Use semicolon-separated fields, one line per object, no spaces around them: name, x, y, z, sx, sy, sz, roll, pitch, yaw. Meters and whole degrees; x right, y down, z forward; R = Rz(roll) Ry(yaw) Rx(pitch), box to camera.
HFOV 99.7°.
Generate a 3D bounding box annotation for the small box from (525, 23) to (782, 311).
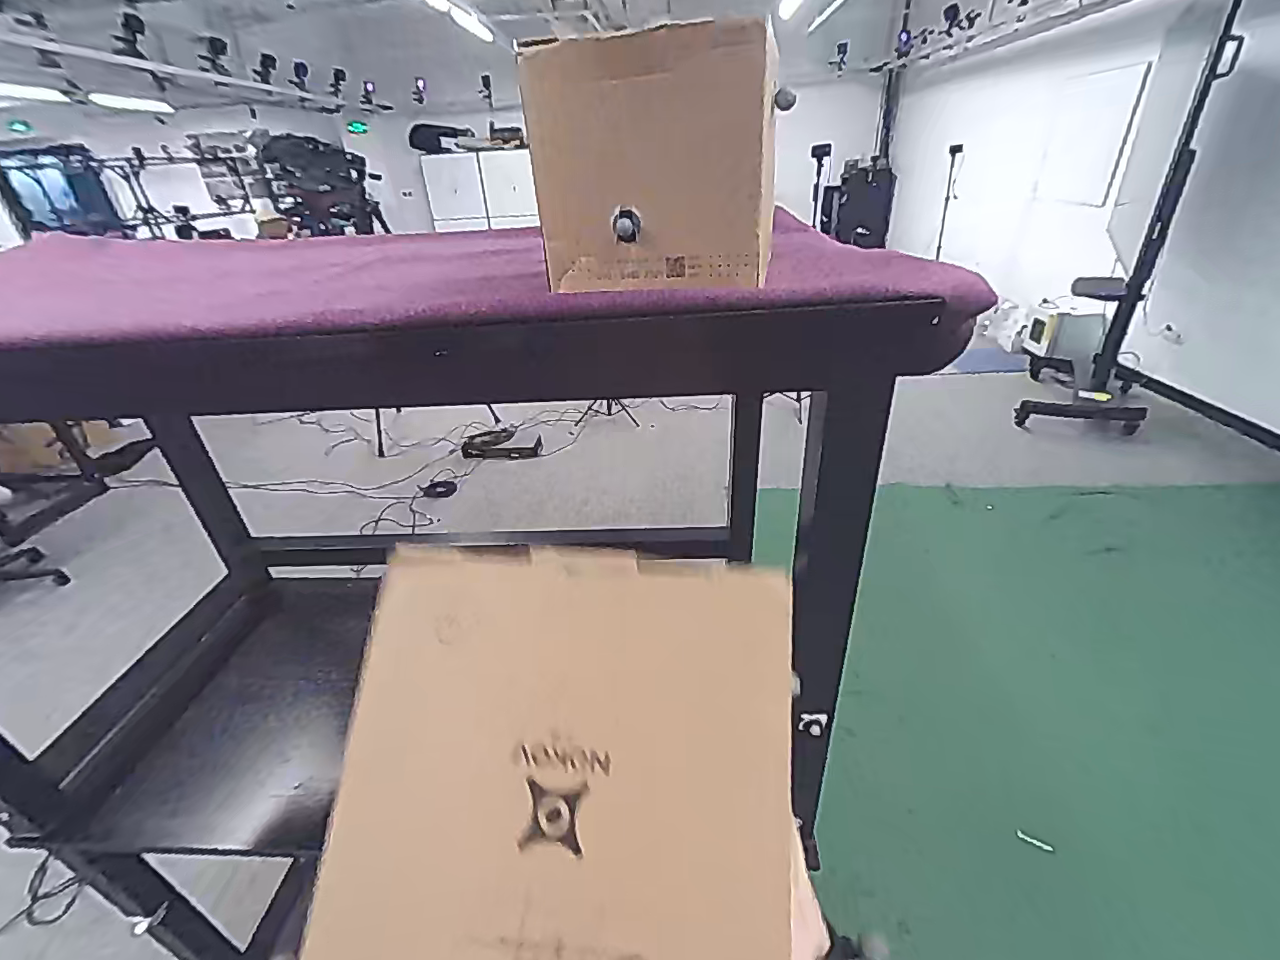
small box;0.024;-0.246;0.445;0.168;0.176;0.179;4;33;13
